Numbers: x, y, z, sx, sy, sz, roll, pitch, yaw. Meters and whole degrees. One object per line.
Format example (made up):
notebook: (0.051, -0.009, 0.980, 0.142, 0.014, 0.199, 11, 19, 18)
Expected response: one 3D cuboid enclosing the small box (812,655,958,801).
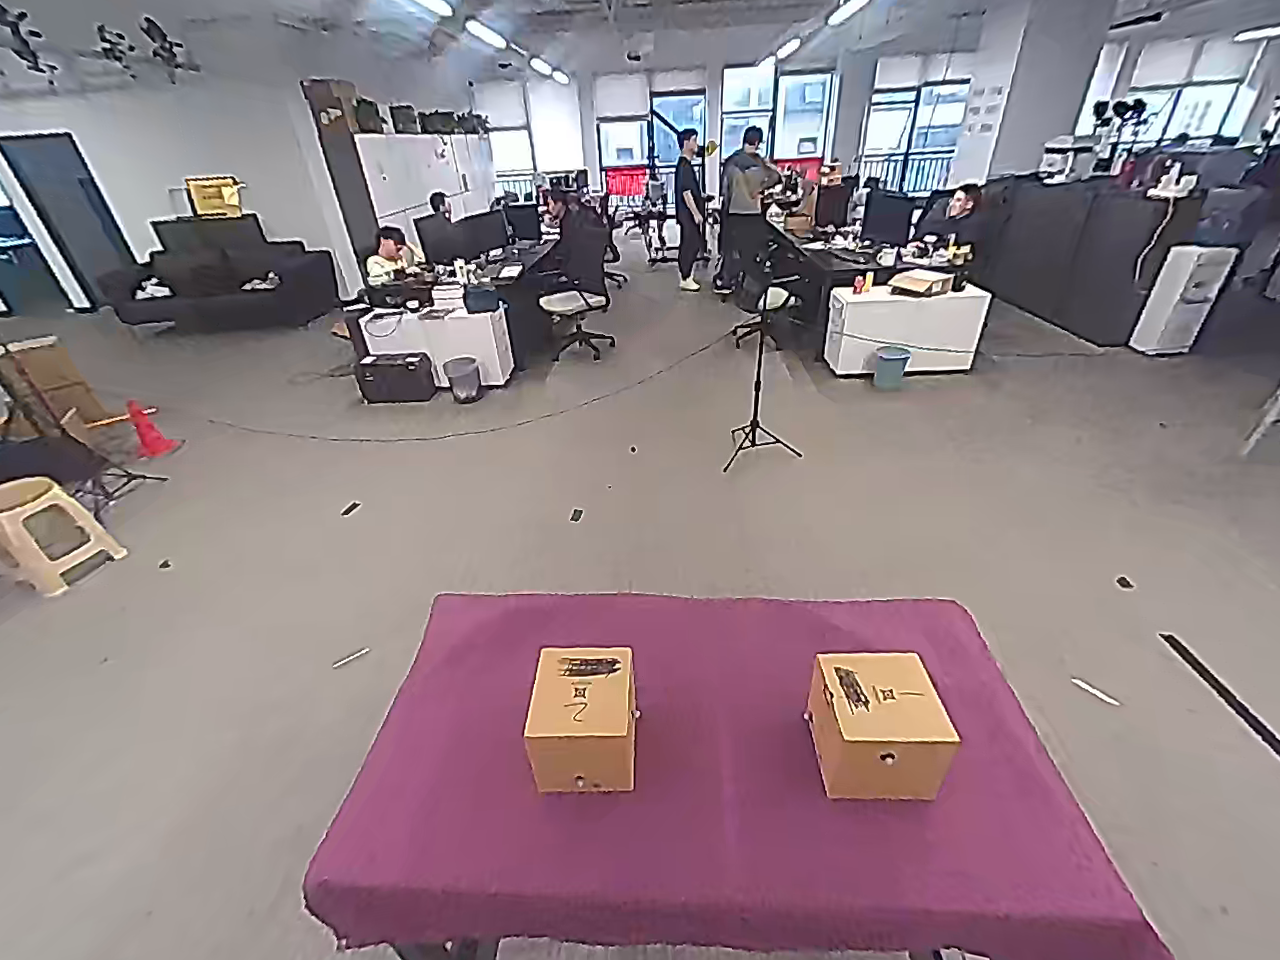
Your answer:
small box: (0.398, 0.419, 0.918, 0.179, 0.176, 0.168, -1, 32, 3)
